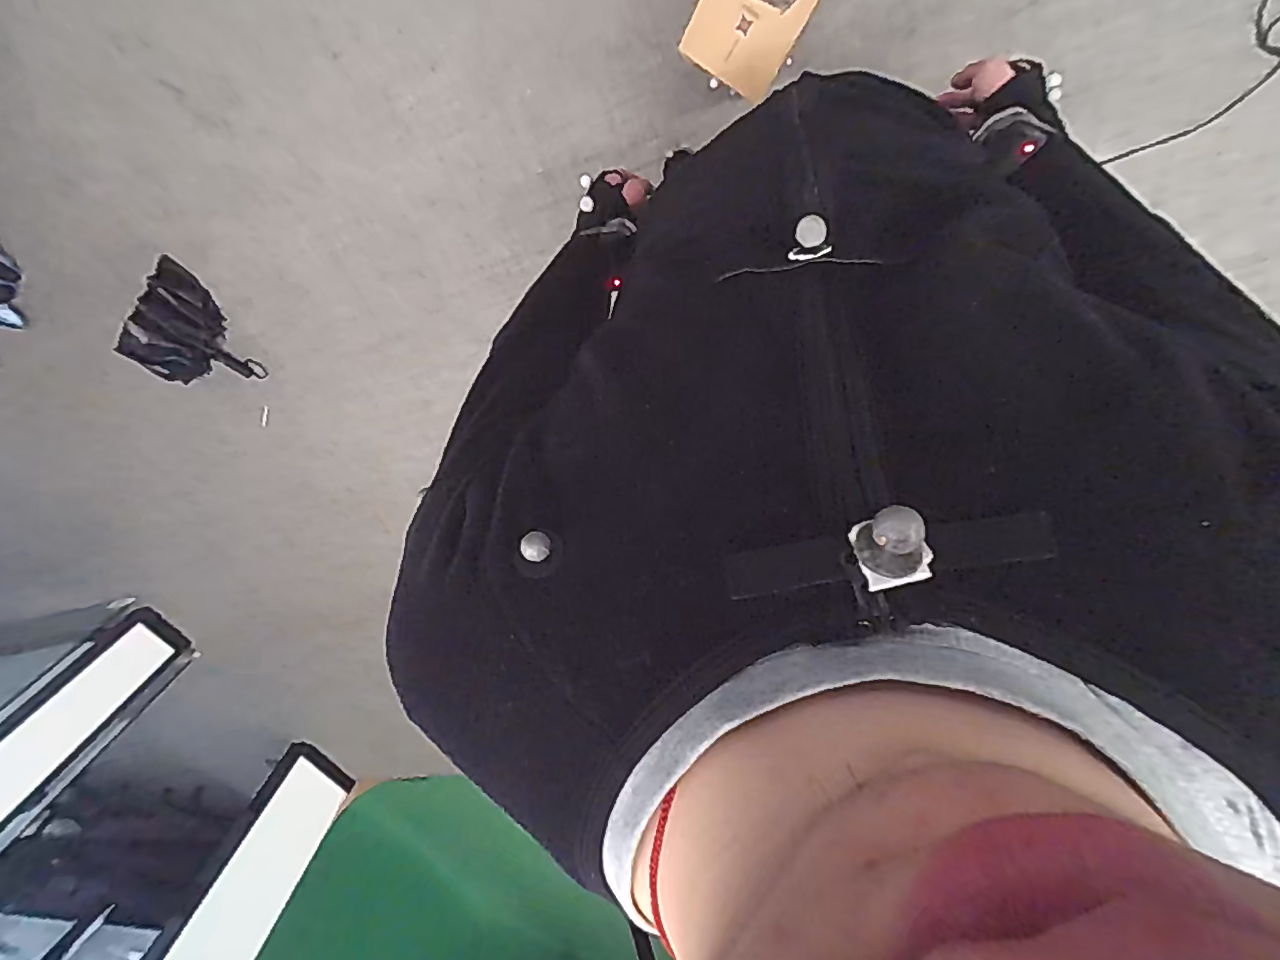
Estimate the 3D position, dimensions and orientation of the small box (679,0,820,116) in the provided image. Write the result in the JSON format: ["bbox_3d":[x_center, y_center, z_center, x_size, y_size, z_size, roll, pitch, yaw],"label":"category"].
[{"bbox_3d":[0.184,-0.777,0.944,0.168,0.176,0.179,29,126,-10],"label":"small box"}]
